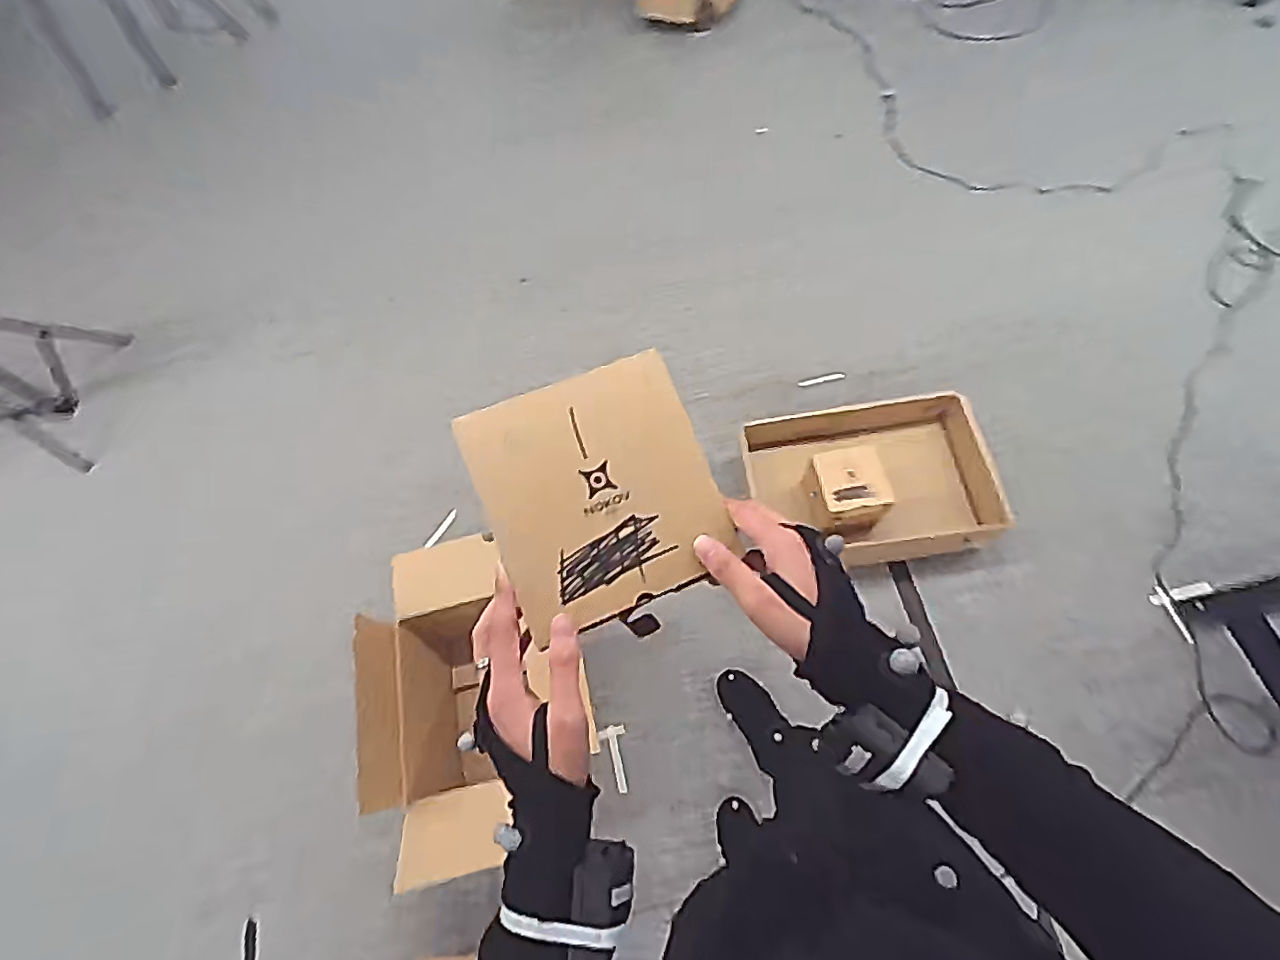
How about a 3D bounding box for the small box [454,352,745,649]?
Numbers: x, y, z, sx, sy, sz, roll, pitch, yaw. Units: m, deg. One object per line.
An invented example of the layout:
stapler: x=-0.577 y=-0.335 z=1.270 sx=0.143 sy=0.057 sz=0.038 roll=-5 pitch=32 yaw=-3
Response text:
small box: x=-0.036 y=0.021 z=0.467 sx=0.168 sy=0.176 sz=0.179 roll=-21 pitch=84 yaw=-10
